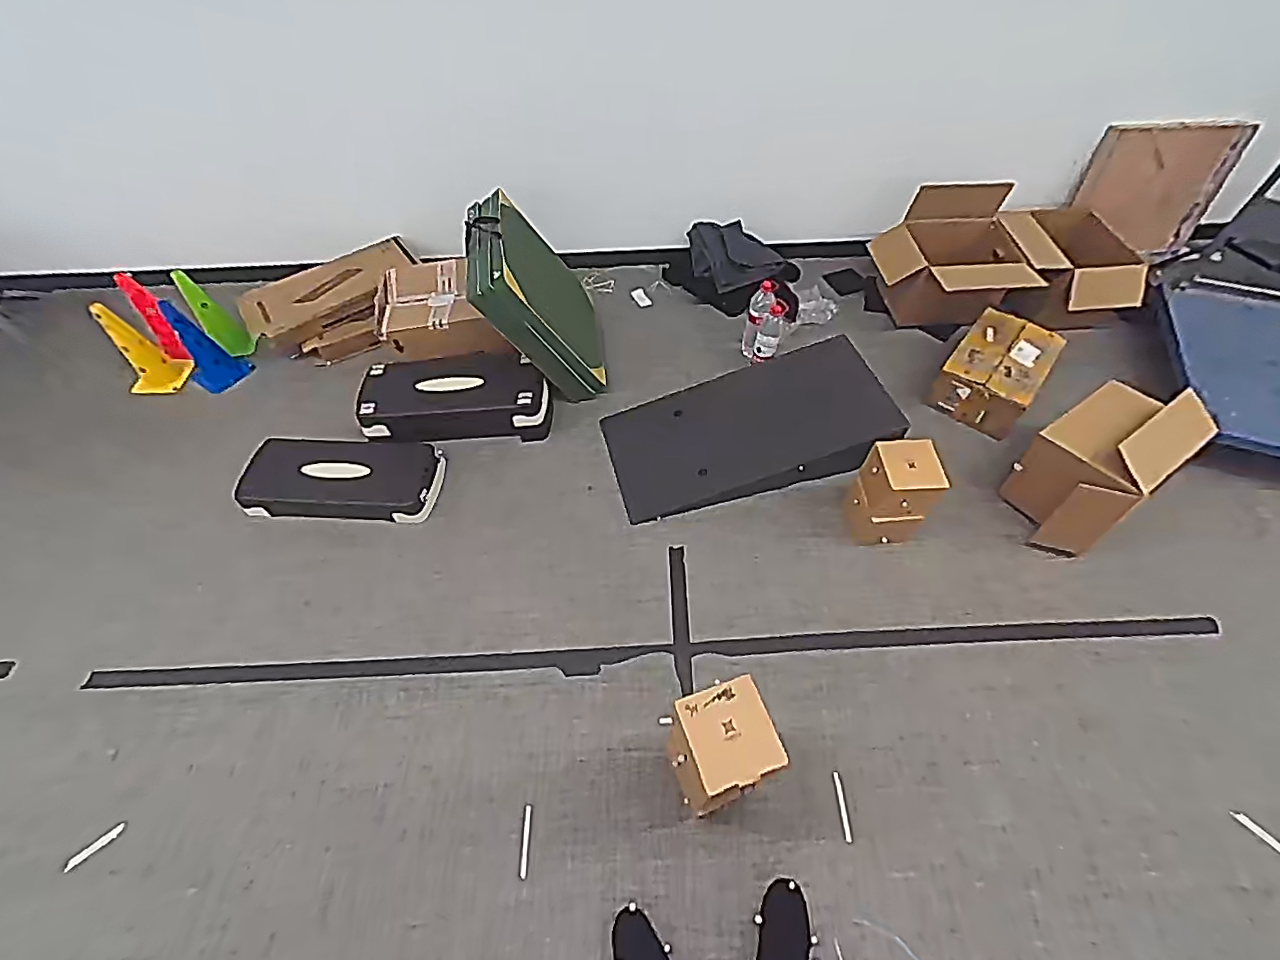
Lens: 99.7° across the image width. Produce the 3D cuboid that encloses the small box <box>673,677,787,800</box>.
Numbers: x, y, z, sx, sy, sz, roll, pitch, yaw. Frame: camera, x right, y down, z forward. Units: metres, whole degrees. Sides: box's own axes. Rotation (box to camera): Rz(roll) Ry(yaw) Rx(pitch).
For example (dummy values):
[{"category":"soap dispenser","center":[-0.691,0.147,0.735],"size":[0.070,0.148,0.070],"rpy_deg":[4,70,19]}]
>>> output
[{"category":"small box","center":[0.172,0.528,1.096],"size":[0.168,0.176,0.179],"rpy_deg":[-16,57,-10]}]
